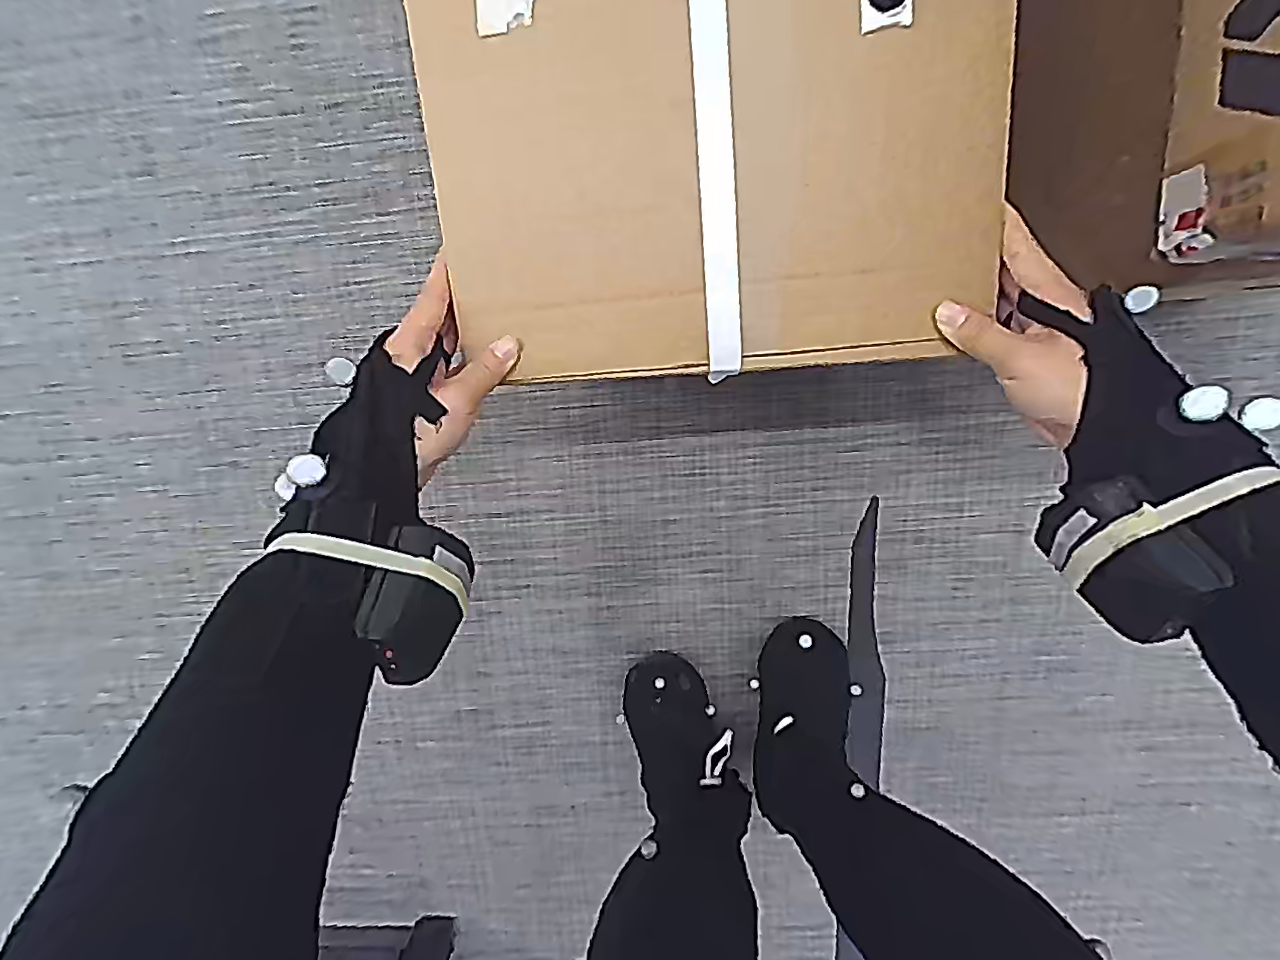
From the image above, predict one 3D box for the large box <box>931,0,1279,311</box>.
[{"bbox_3d":[0.444,-0.356,0.400,0.320,0.320,0.408,-4,103,4],"label":"large box"}]
